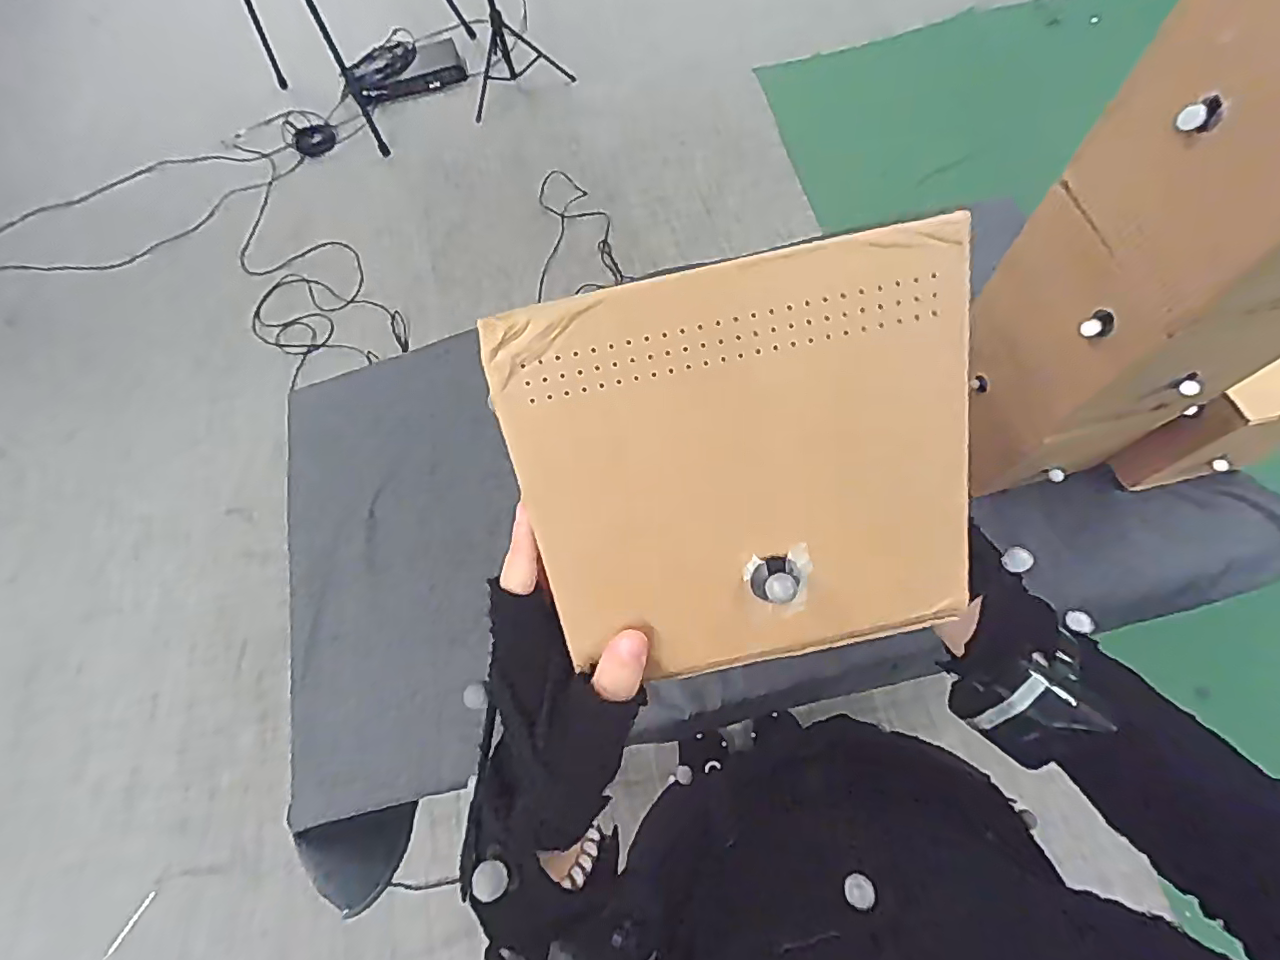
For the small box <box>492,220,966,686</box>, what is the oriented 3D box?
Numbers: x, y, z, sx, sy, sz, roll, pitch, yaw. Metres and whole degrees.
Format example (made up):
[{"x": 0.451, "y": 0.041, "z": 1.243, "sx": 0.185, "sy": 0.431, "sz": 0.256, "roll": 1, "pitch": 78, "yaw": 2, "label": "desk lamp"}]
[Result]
[{"x": 0.042, "y": -0.027, "z": 0.287, "sx": 0.179, "sy": 0.168, "sz": 0.176, "roll": -12, "pitch": 110, "yaw": 1, "label": "small box"}]

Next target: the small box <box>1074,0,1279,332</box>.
[{"x": 0.446, "y": -0.229, "z": 0.355, "sx": 0.168, "sy": 0.176, "sz": 0.179, "roll": -11, "pitch": 66, "yaw": 3, "label": "small box"}]

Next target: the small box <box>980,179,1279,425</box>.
[{"x": 0.465, "y": -0.167, "z": 0.506, "sx": 0.168, "sy": 0.176, "sz": 0.179, "roll": -12, "pitch": 66, "yaw": 2, "label": "small box"}]
